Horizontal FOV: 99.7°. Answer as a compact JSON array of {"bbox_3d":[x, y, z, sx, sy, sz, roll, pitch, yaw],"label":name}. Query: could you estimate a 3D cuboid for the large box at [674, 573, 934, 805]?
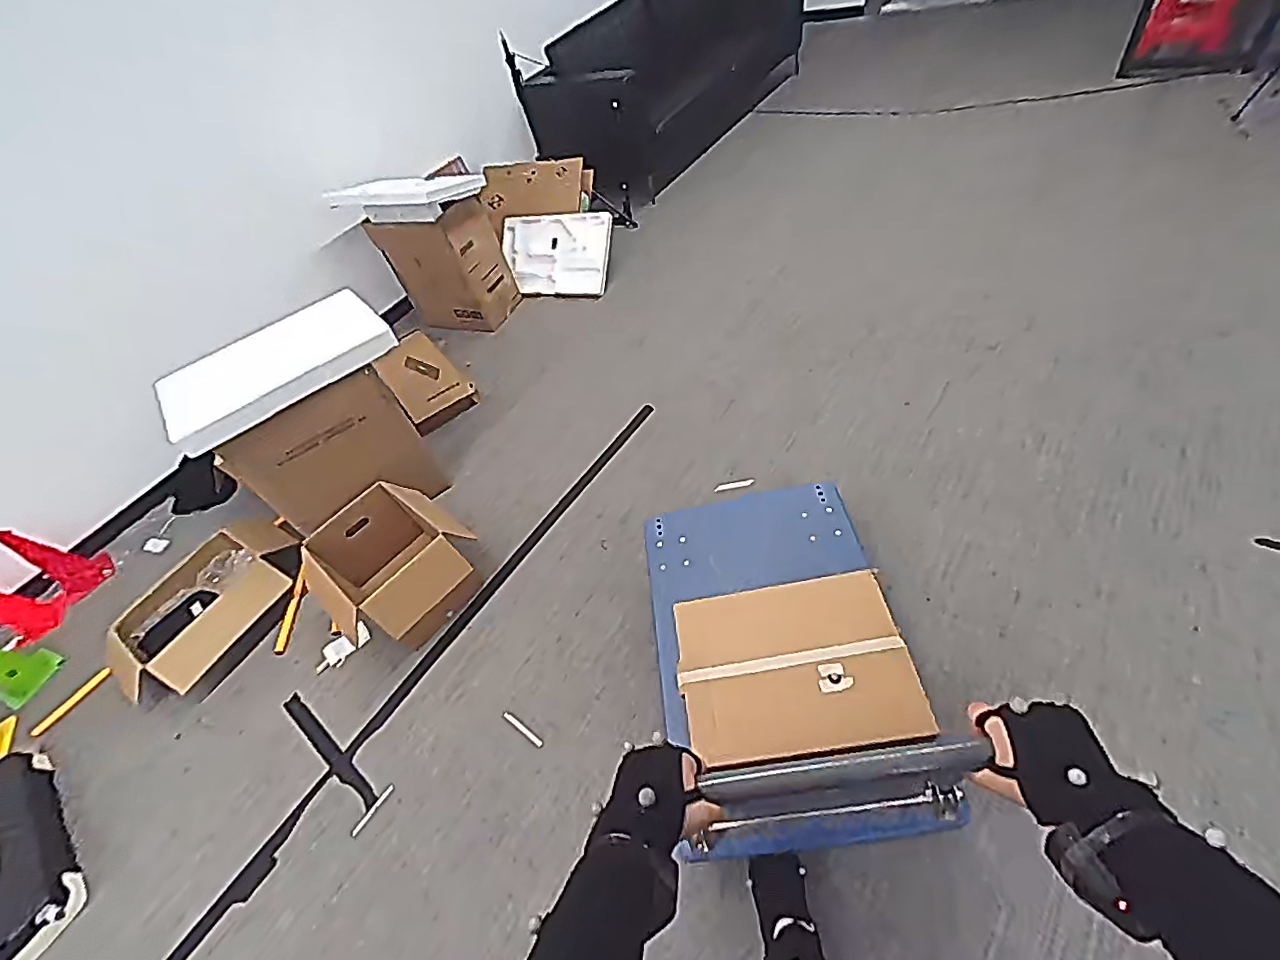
[{"bbox_3d":[0.305,0.435,1.106,0.408,0.320,0.320,-11,49,5],"label":"large box"}]
